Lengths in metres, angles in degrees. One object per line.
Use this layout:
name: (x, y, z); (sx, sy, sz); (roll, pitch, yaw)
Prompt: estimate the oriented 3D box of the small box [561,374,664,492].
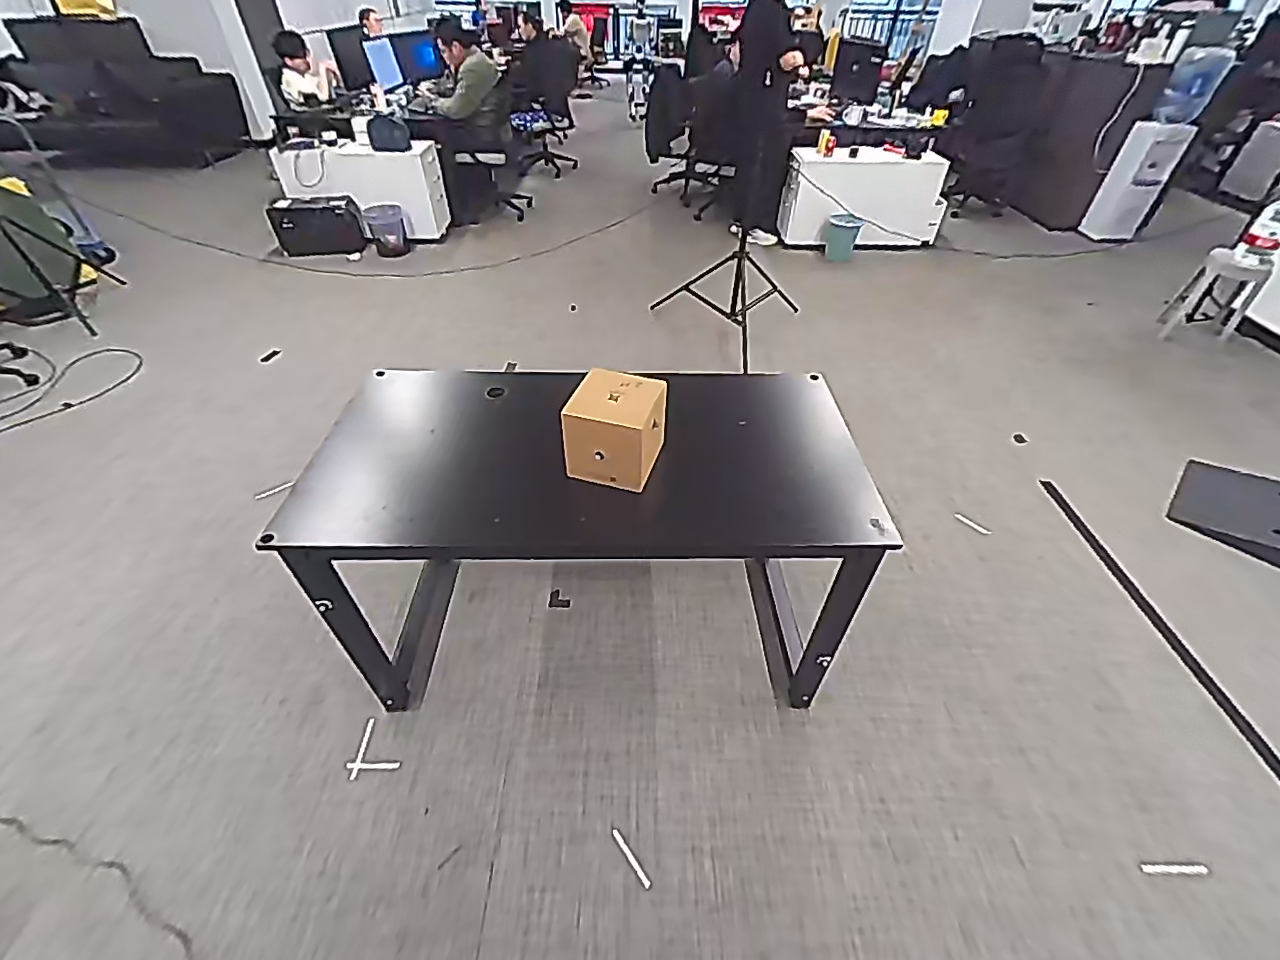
small box: (-0.052, -0.098, 1.142); (0.168, 0.176, 0.179); (13, 43, 12)
